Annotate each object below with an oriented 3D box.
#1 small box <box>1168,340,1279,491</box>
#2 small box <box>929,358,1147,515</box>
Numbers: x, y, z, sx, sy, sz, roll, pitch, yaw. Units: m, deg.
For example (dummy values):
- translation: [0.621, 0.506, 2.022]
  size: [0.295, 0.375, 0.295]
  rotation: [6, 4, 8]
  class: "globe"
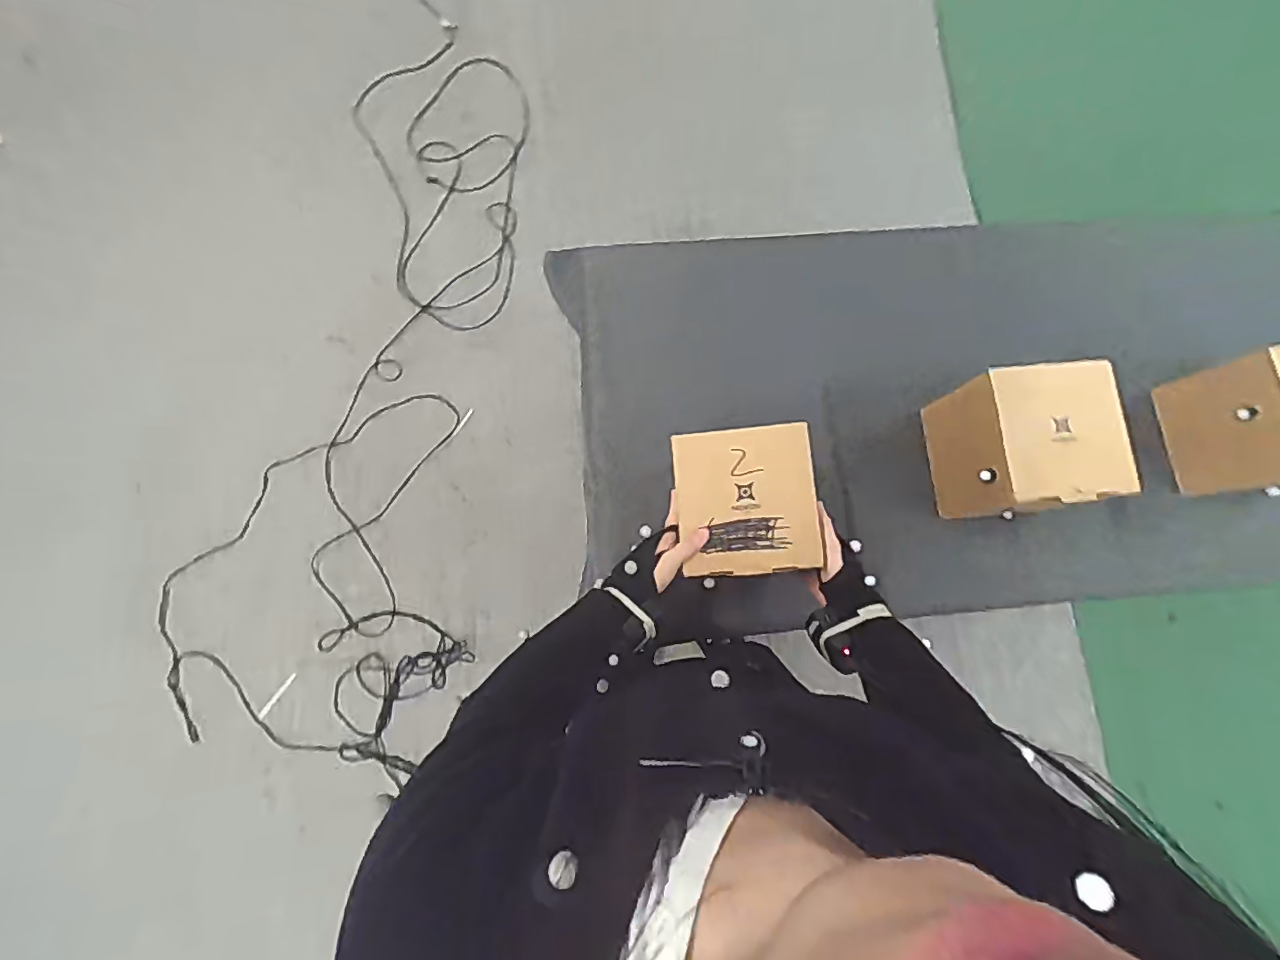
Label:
- translation: [0.912, -0.090, 0.762]
  size: [0.168, 0.176, 0.179]
  rotation: [-7, 80, 0]
  class: "small box"
- translation: [0.536, -0.052, 0.758]
  size: [0.168, 0.176, 0.179]
  rotation: [-5, 80, -1]
  class: "small box"
